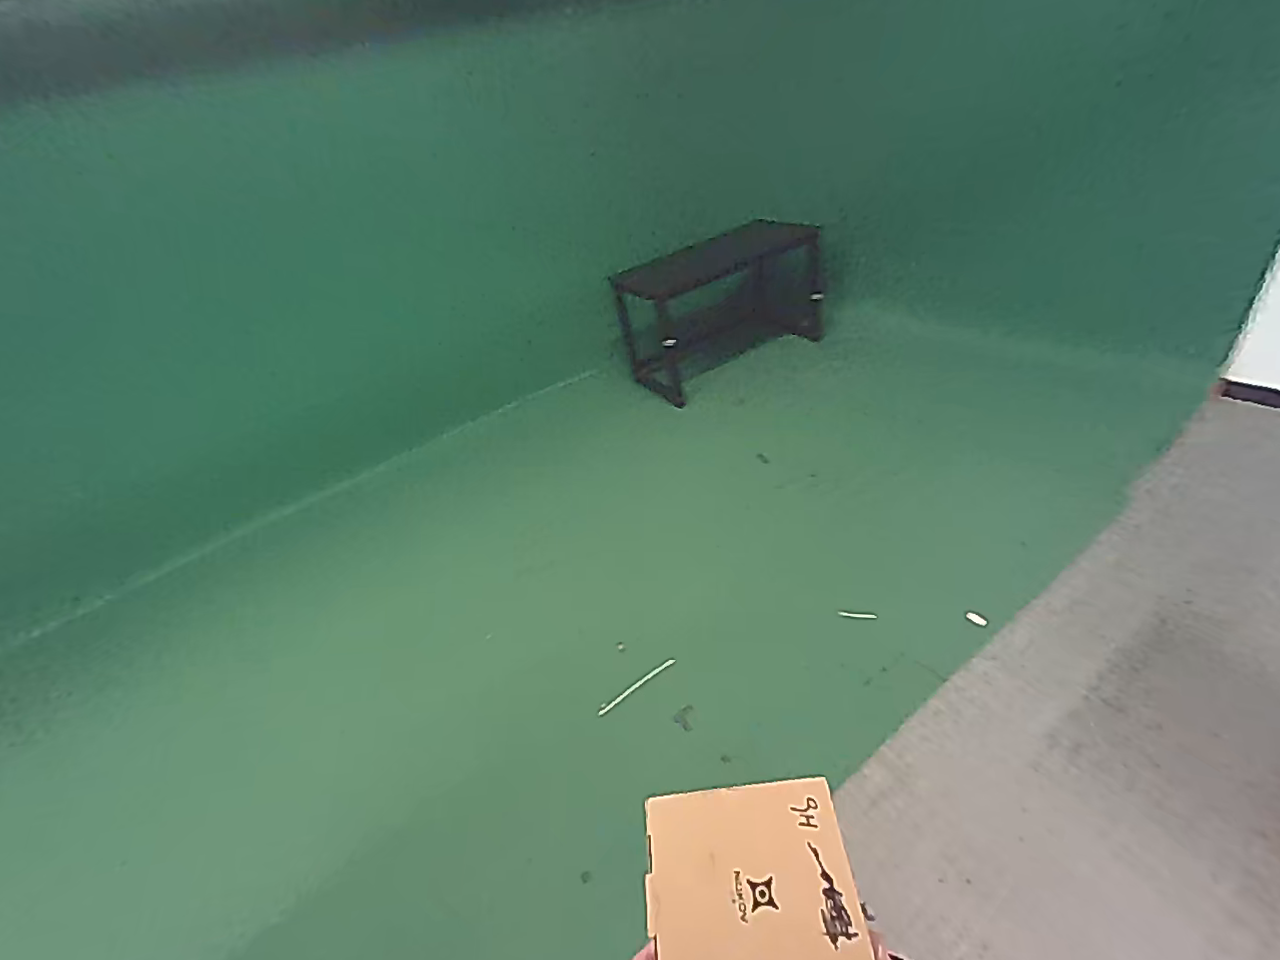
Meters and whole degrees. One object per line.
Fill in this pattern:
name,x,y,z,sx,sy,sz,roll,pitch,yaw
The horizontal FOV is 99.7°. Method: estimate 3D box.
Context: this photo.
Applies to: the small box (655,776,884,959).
small box,0.117,0.402,0.517,0.179,0.176,0.168,-9,47,6
